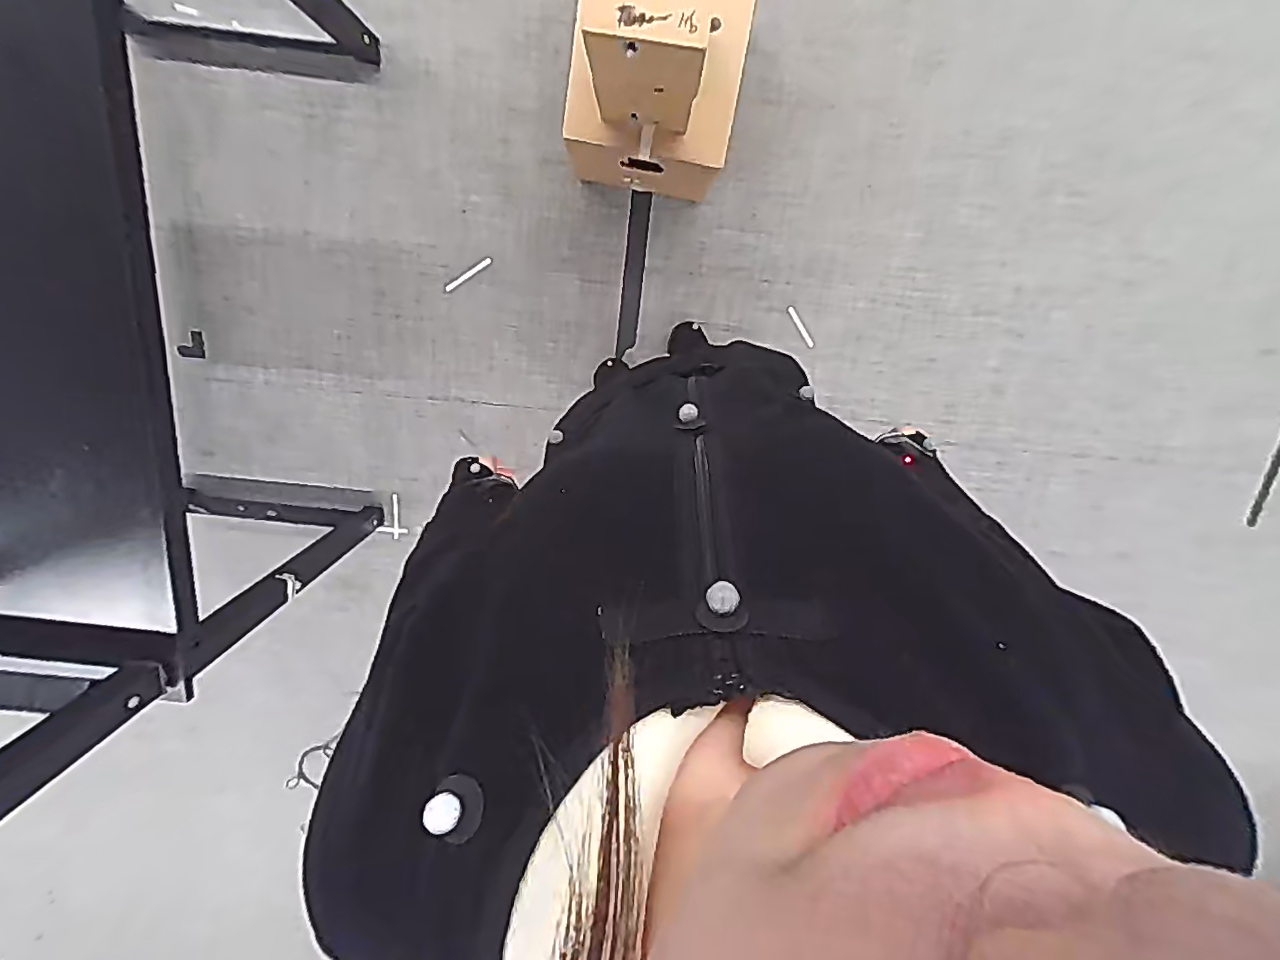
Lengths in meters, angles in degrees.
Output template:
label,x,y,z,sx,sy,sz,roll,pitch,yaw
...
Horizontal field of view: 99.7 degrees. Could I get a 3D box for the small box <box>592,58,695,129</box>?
label,x,y,z,sx,sy,sz,roll,pitch,yaw
small box,0.020,-0.717,0.891,0.168,0.176,0.179,10,107,-2

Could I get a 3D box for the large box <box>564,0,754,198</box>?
label,x,y,z,sx,sy,sz,roll,pitch,yaw
large box,0.037,-0.848,1.107,0.320,0.320,0.408,9,105,-4

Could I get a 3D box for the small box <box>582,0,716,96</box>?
label,x,y,z,sx,sy,sz,roll,pitch,yaw
small box,0.021,-0.667,0.735,0.168,0.176,0.179,9,105,-1
